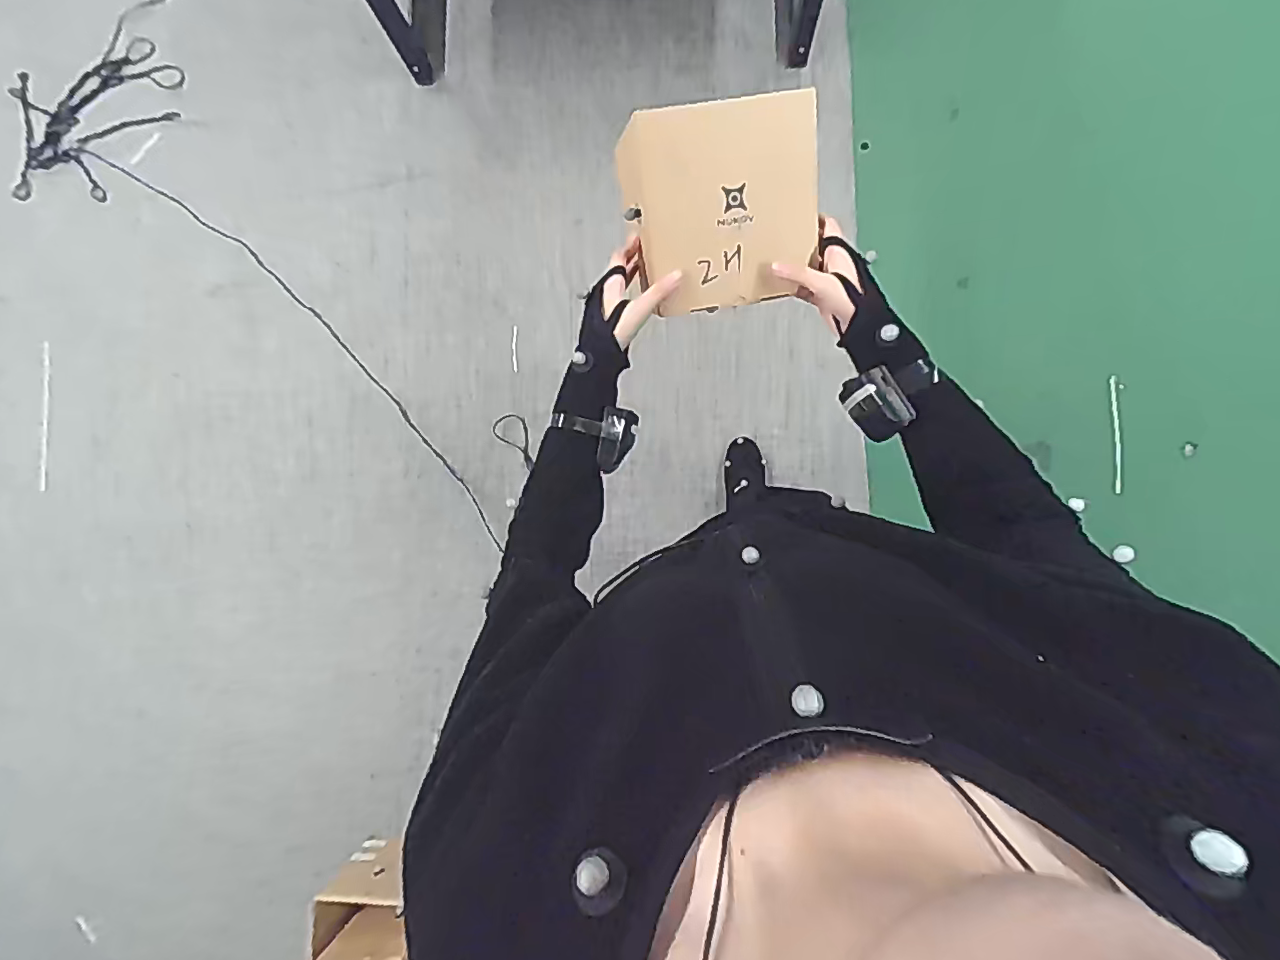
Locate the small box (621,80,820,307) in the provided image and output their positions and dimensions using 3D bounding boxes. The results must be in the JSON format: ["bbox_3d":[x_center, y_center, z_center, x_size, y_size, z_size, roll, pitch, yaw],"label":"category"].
[{"bbox_3d":[0.077,-0.289,0.574,0.168,0.176,0.179,-10,113,-4],"label":"small box"}]
